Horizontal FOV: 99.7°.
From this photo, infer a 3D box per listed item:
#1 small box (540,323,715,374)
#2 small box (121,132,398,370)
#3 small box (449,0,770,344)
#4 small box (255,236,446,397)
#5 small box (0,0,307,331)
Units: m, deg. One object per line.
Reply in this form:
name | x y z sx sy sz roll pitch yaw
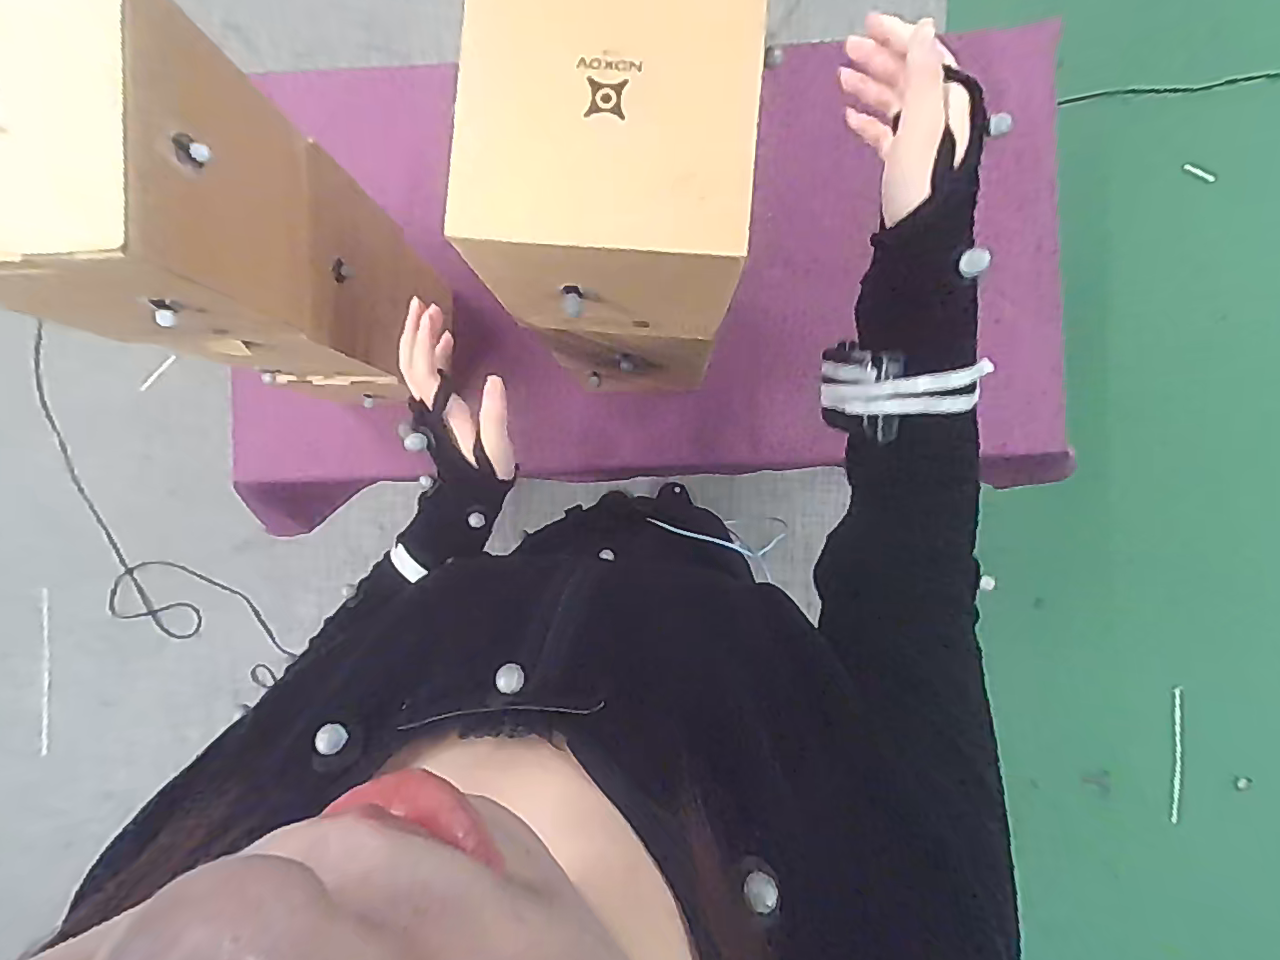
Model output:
small box | -0.012 -0.214 0.539 0.168 0.176 0.179 4 90 1
small box | -0.362 -0.213 0.542 0.168 0.176 0.179 2 89 0
small box | -0.015 -0.204 0.376 0.168 0.176 0.179 6 89 0
small box | -0.364 -0.205 0.706 0.168 0.176 0.179 2 91 -1
small box | -0.362 -0.209 0.379 0.168 0.176 0.179 0 89 -1
